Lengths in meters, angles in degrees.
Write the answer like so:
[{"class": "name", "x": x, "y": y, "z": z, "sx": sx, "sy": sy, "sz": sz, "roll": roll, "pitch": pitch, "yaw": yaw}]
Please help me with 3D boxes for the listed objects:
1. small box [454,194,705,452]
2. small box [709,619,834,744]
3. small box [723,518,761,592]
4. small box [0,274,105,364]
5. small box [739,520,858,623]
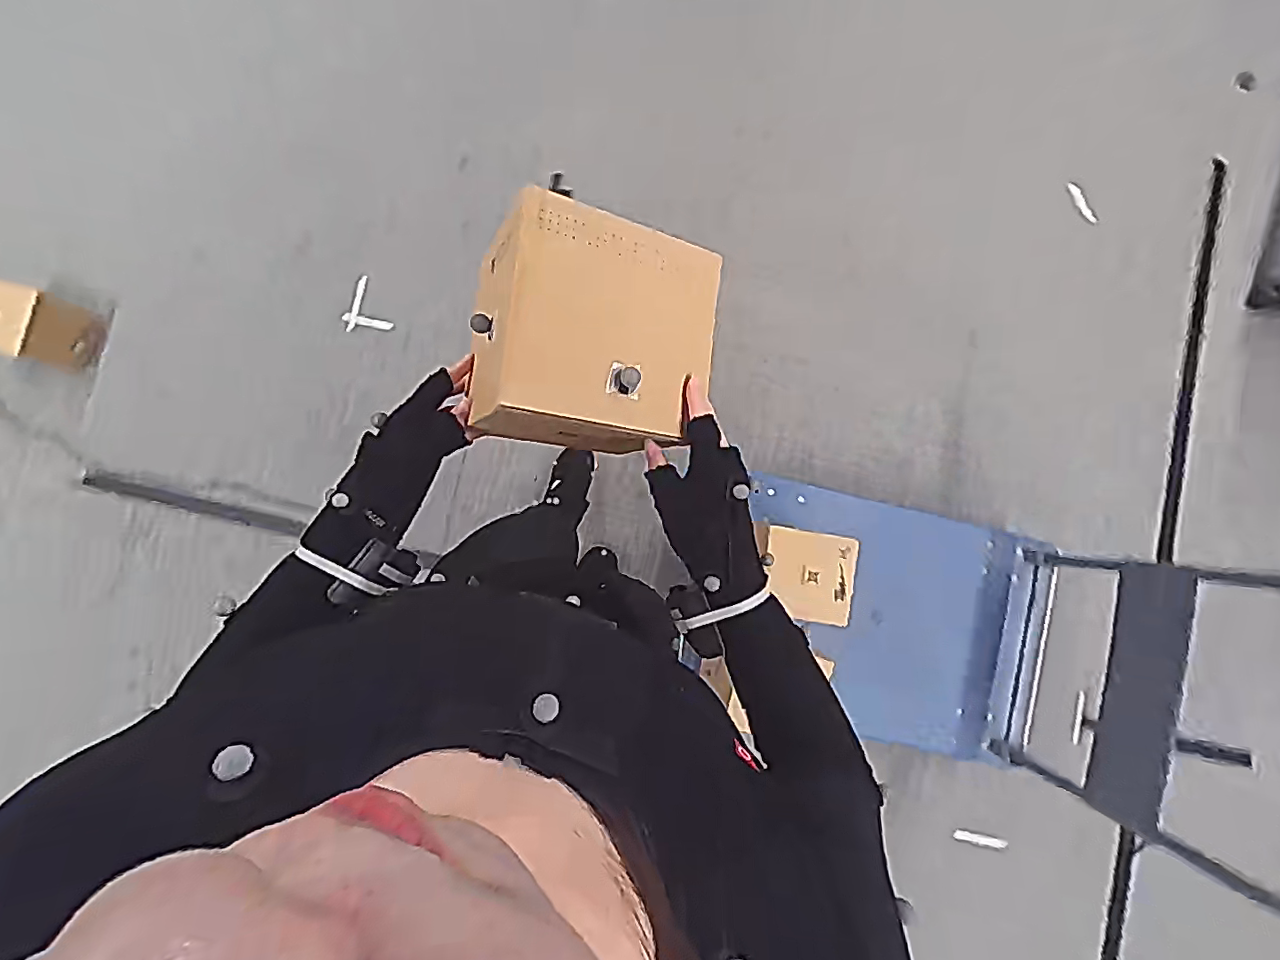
[{"class": "small box", "x": -0.058, "y": -0.125, "z": 0.490, "sx": 0.179, "sy": 0.168, "sz": 0.176, "roll": 6, "pitch": 86, "yaw": -27}, {"class": "small box", "x": 0.252, "y": 0.389, "z": 1.076, "sx": 0.179, "sy": 0.176, "sz": 0.168, "roll": 16, "pitch": 87, "yaw": -2}, {"class": "small box", "x": 0.302, "y": 0.186, "z": 1.255, "sx": 0.179, "sy": 0.176, "sz": 0.168, "roll": 13, "pitch": 87, "yaw": -3}, {"class": "small box", "x": -1.552, "y": -0.409, "z": 1.381, "sx": 0.179, "sy": 0.176, "sz": 0.168, "roll": 14, "pitch": 87, "yaw": -3}, {"class": "small box", "x": 0.310, "y": 0.176, "z": 1.091, "sx": 0.179, "sy": 0.176, "sz": 0.168, "roll": 11, "pitch": 87, "yaw": -2}]
